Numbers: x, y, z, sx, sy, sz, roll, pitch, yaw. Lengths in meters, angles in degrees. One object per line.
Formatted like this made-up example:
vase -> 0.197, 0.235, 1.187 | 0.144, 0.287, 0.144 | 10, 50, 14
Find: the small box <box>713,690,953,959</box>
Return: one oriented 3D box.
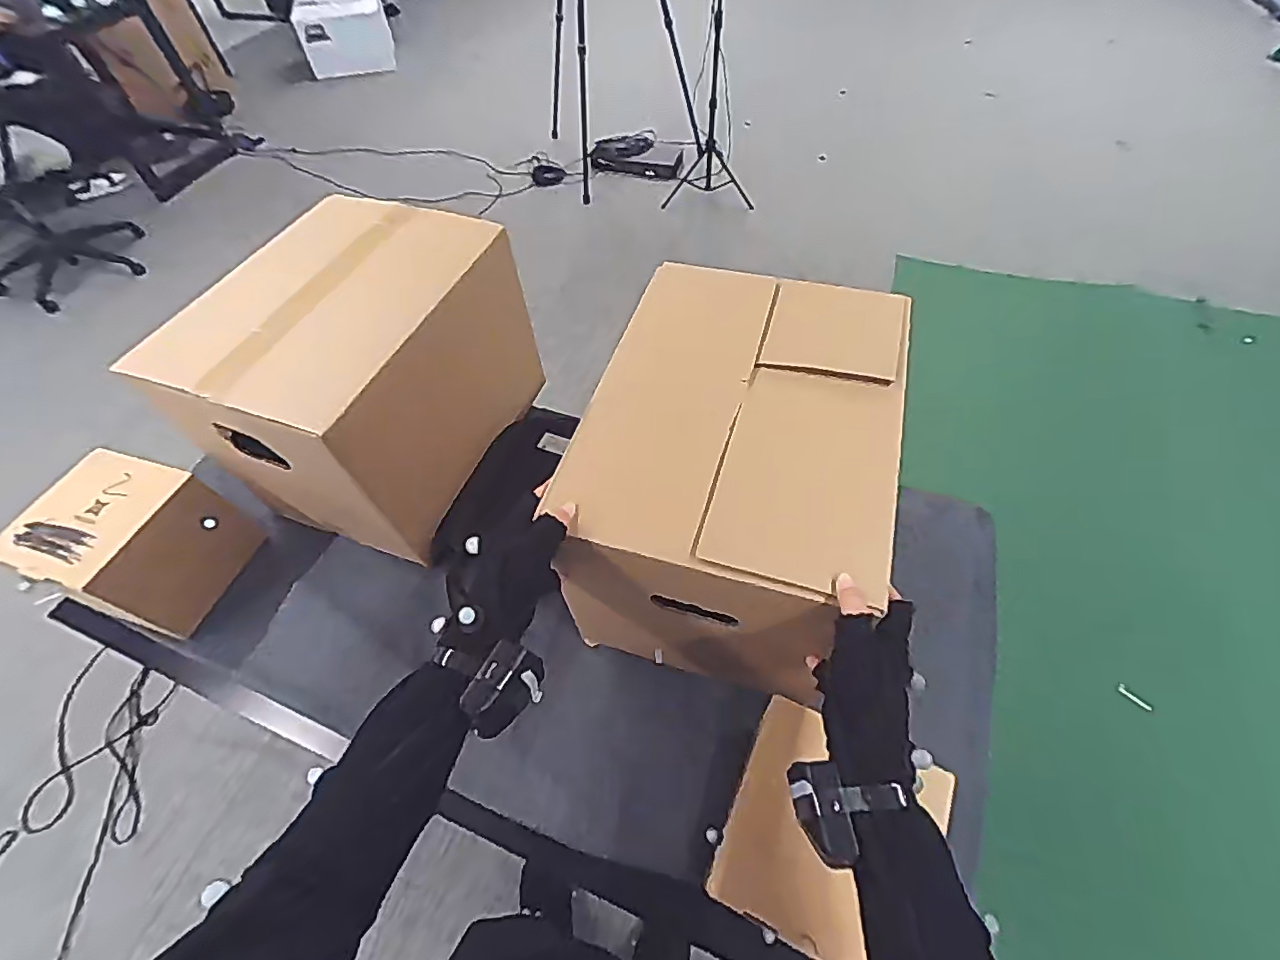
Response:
small box -> 0.175, 0.340, 0.530 | 0.168, 0.176, 0.179 | 20, 61, 18
